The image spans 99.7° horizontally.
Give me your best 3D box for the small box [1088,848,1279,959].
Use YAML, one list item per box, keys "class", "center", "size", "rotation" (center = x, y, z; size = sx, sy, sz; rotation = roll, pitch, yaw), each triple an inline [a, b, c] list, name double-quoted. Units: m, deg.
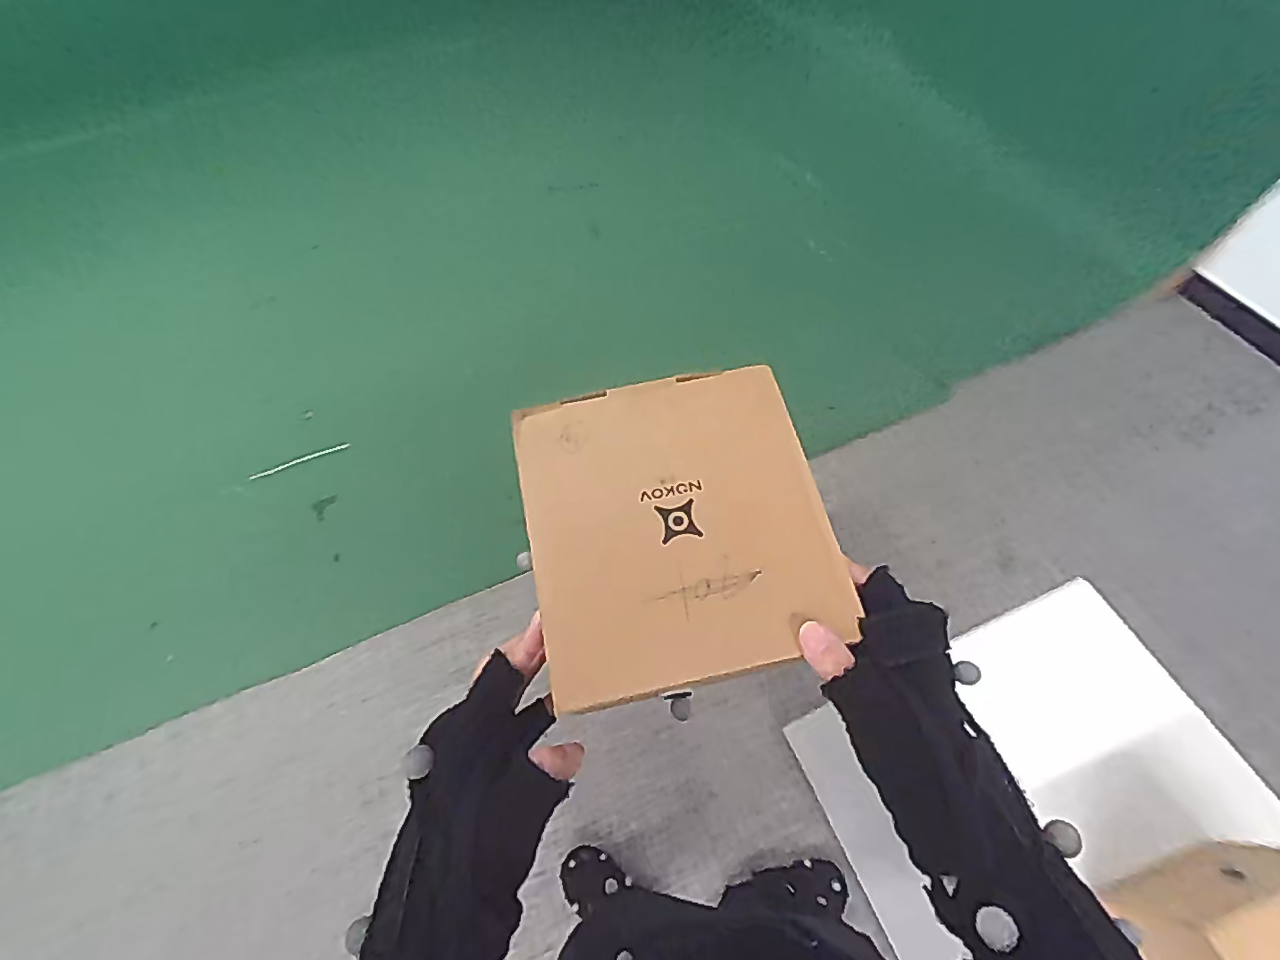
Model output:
- class: "small box"
  center: [0.600, 0.476, 0.515]
  size: [0.179, 0.176, 0.168]
  rotation: [-18, 60, -6]
